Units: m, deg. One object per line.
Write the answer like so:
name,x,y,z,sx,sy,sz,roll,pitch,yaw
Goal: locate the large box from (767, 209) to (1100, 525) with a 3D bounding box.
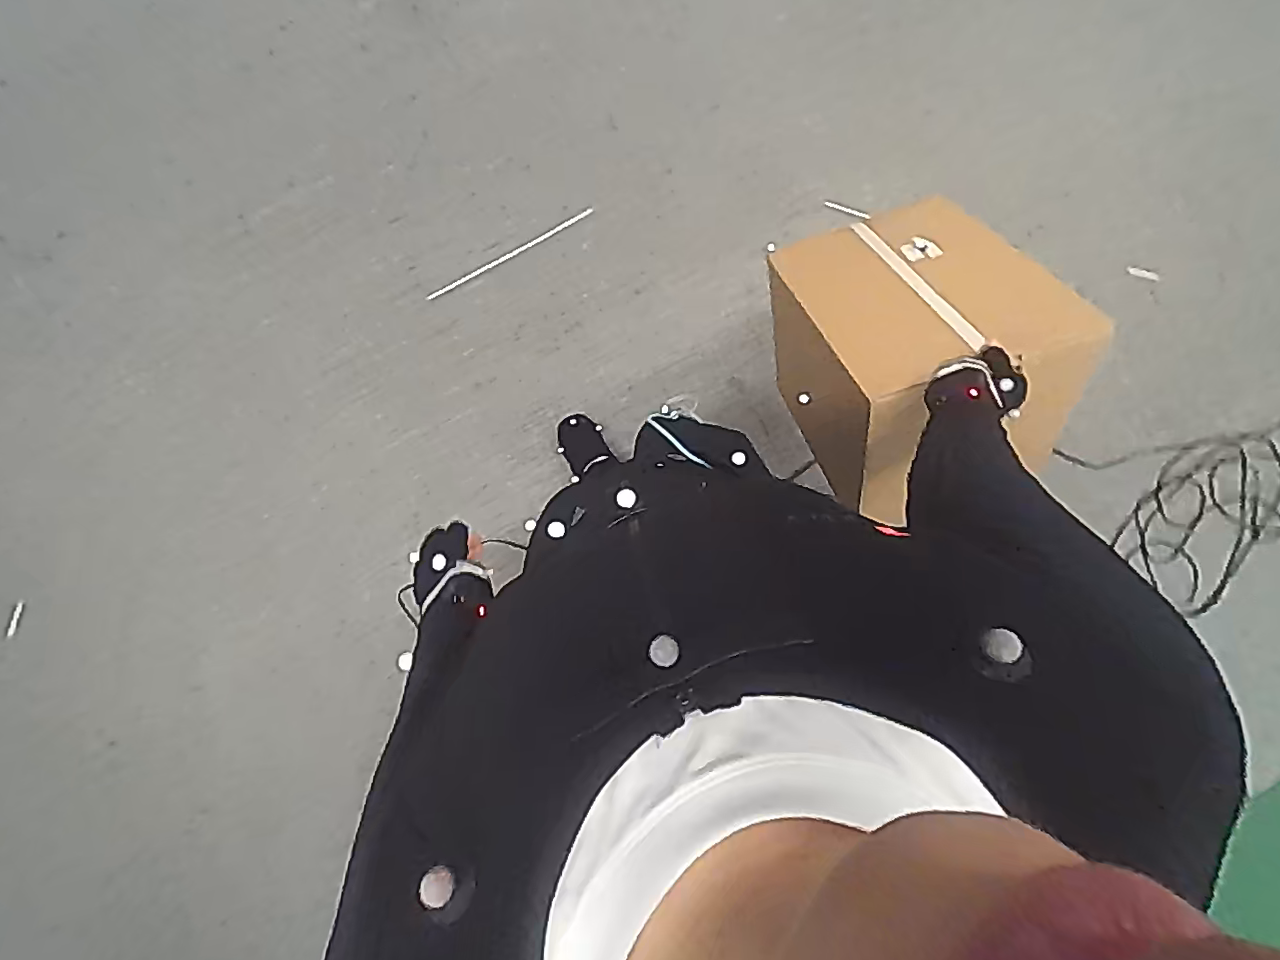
large box,0.444,-0.196,0.936,0.320,0.408,0.320,-16,138,3
